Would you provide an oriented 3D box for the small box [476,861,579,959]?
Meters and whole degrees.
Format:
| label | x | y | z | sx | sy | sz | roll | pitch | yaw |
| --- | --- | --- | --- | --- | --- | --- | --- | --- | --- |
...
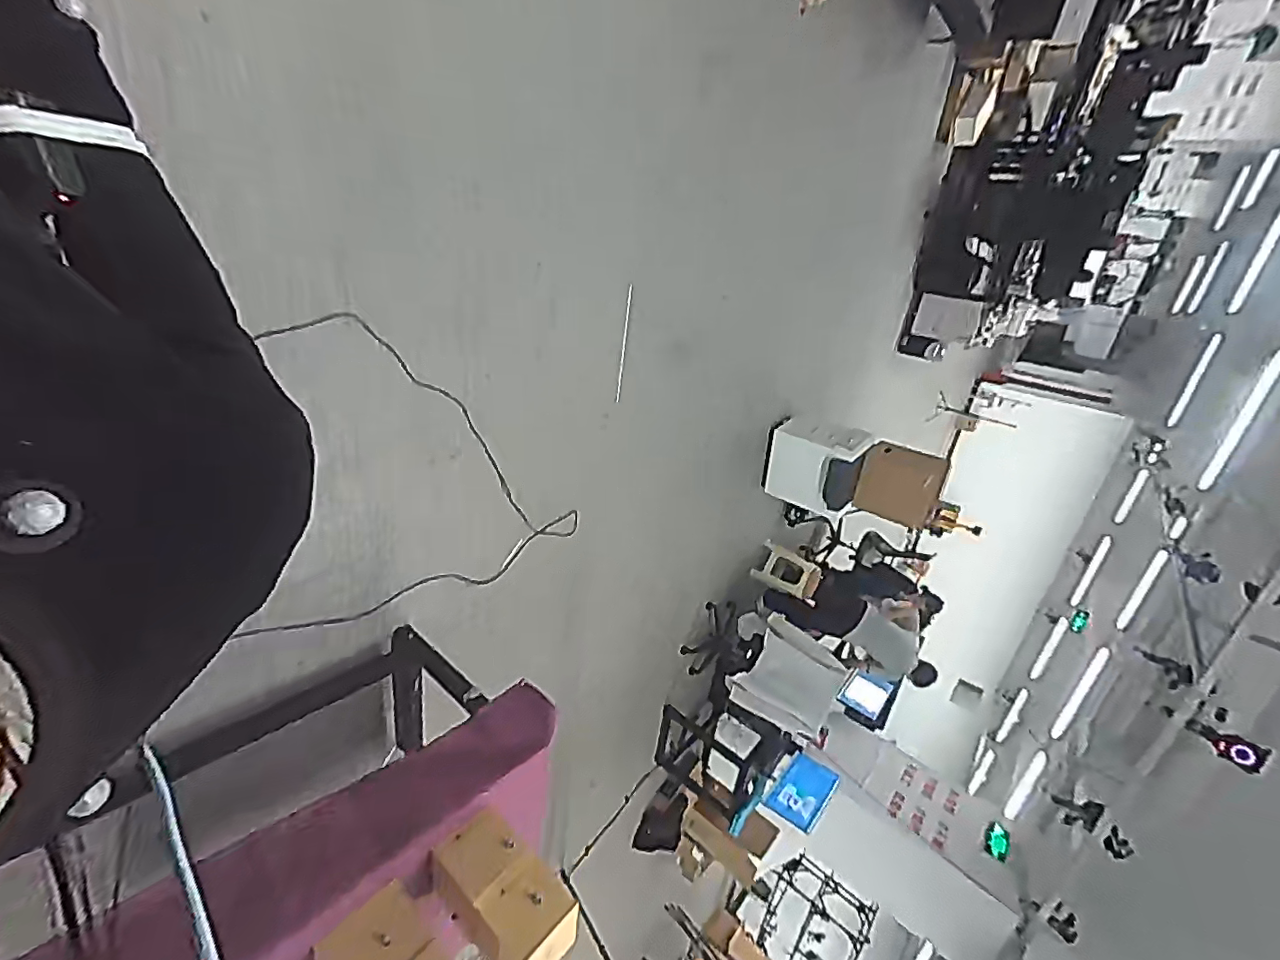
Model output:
| label | x | y | z | sx | sy | sz | roll | pitch | yaw |
| --- | --- | --- | --- | --- | --- | --- | --- | --- | --- |
| small box | -0.260 | 1.025 | 1.236 | 0.168 | 0.176 | 0.179 | -23 | 129 | -45 |

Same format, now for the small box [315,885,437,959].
| label | x | y | z | sx | sy | sz | roll | pitch | yaw |
| --- | --- | --- | --- | --- | --- | --- | --- | --- | --- |
| small box | -0.549 | 1.016 | 1.134 | 0.179 | 0.176 | 0.168 | -20 | 126 | -47 |
